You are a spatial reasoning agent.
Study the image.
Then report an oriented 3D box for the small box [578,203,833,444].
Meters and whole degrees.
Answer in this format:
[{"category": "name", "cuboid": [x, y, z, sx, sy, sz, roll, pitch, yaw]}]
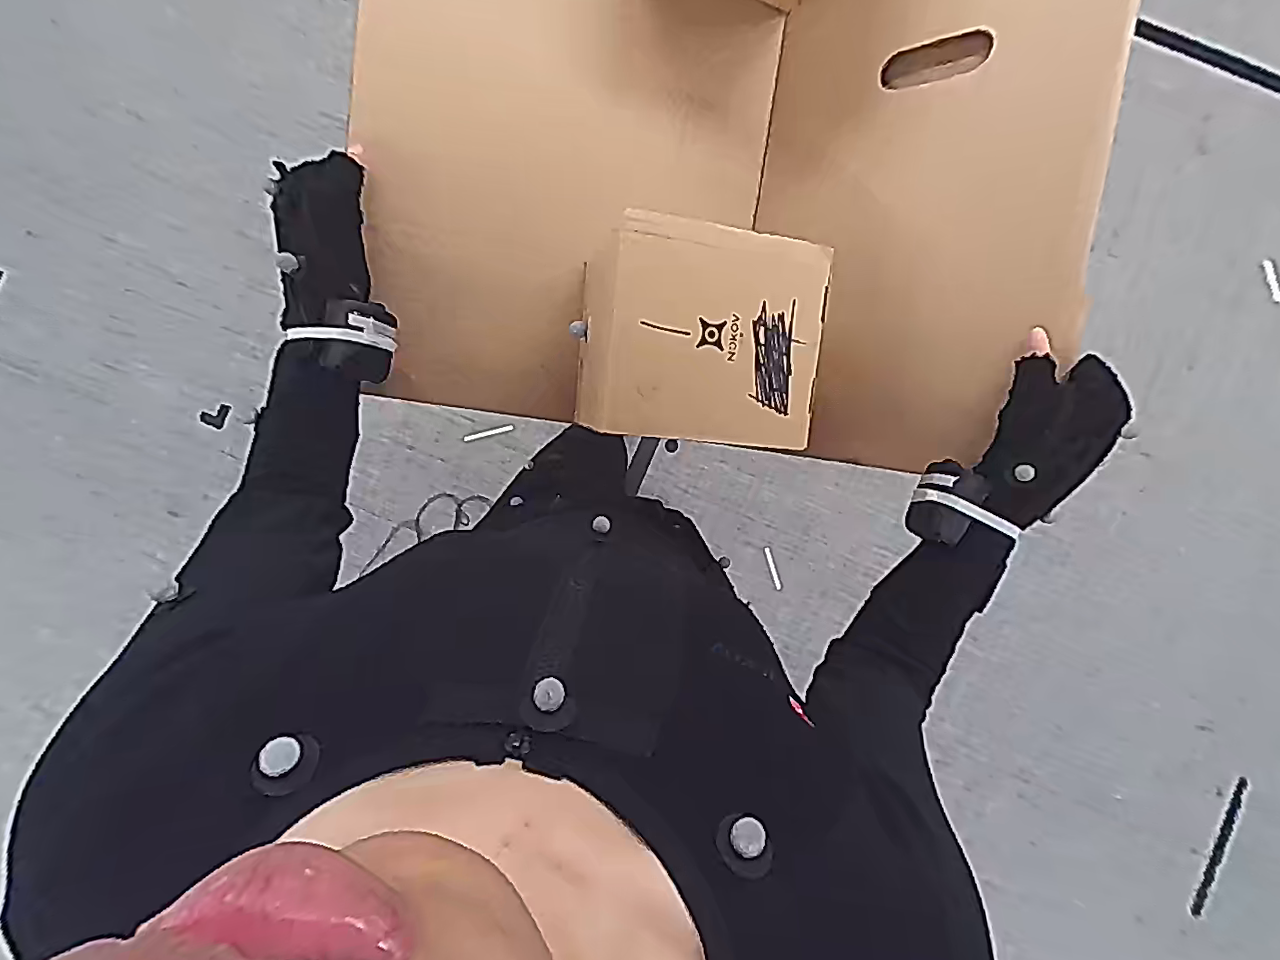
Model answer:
[{"category": "small box", "cuboid": [0.046, -0.129, 0.501, 0.179, 0.176, 0.168, 4, 97, -14]}]
